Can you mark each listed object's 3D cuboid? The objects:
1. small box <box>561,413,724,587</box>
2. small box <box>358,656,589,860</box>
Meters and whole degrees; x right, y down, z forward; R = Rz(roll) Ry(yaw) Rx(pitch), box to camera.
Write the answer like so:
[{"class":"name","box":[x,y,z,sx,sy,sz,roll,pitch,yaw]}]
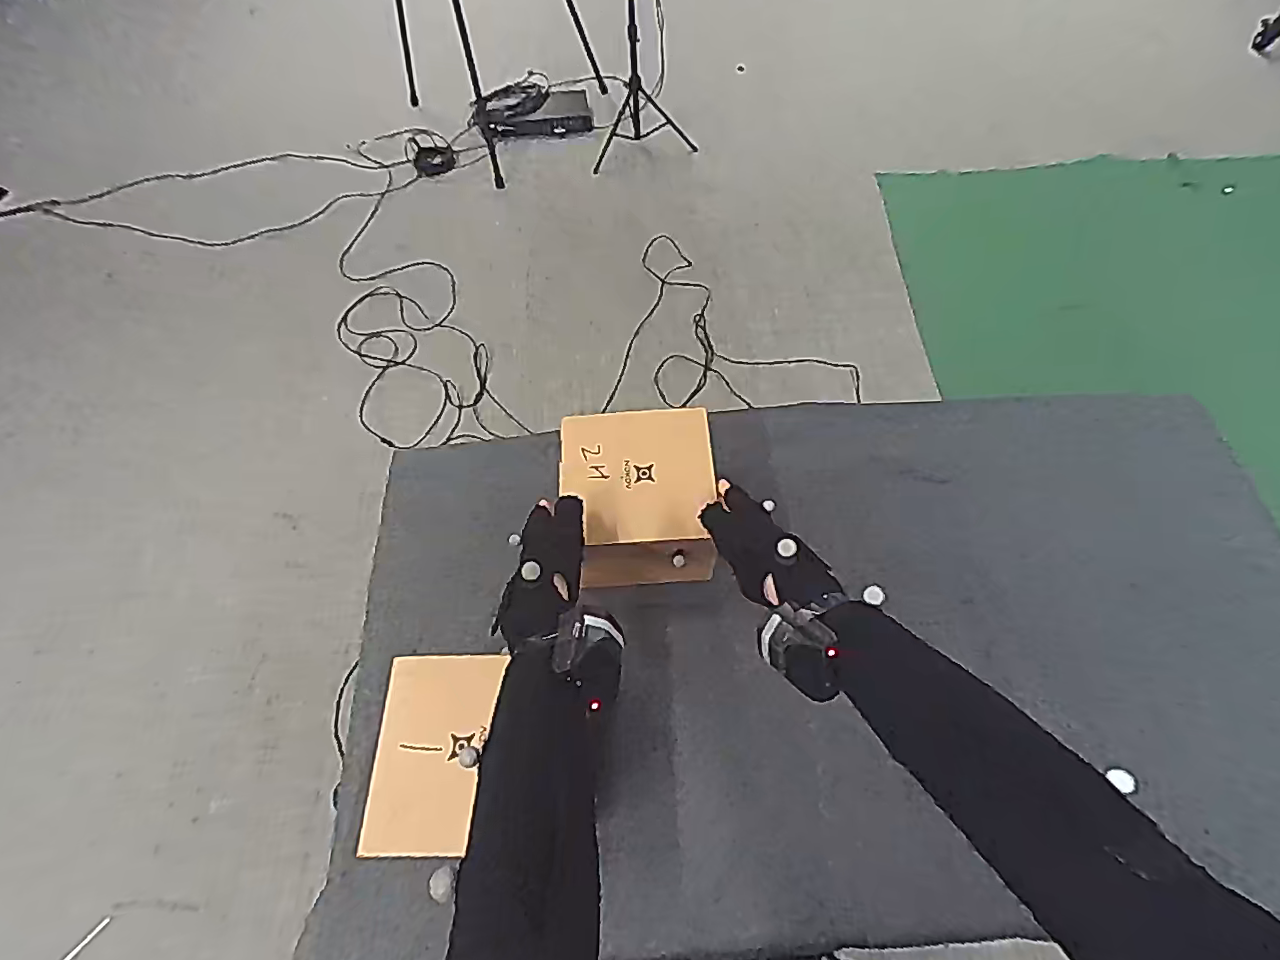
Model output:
[{"class":"small box","box":[0.002,0.032,0.678,0.179,0.176,0.168,-3,64,1]},{"class":"small box","box":[-0.150,0.281,0.561,0.179,0.176,0.168,-1,63,2]}]
